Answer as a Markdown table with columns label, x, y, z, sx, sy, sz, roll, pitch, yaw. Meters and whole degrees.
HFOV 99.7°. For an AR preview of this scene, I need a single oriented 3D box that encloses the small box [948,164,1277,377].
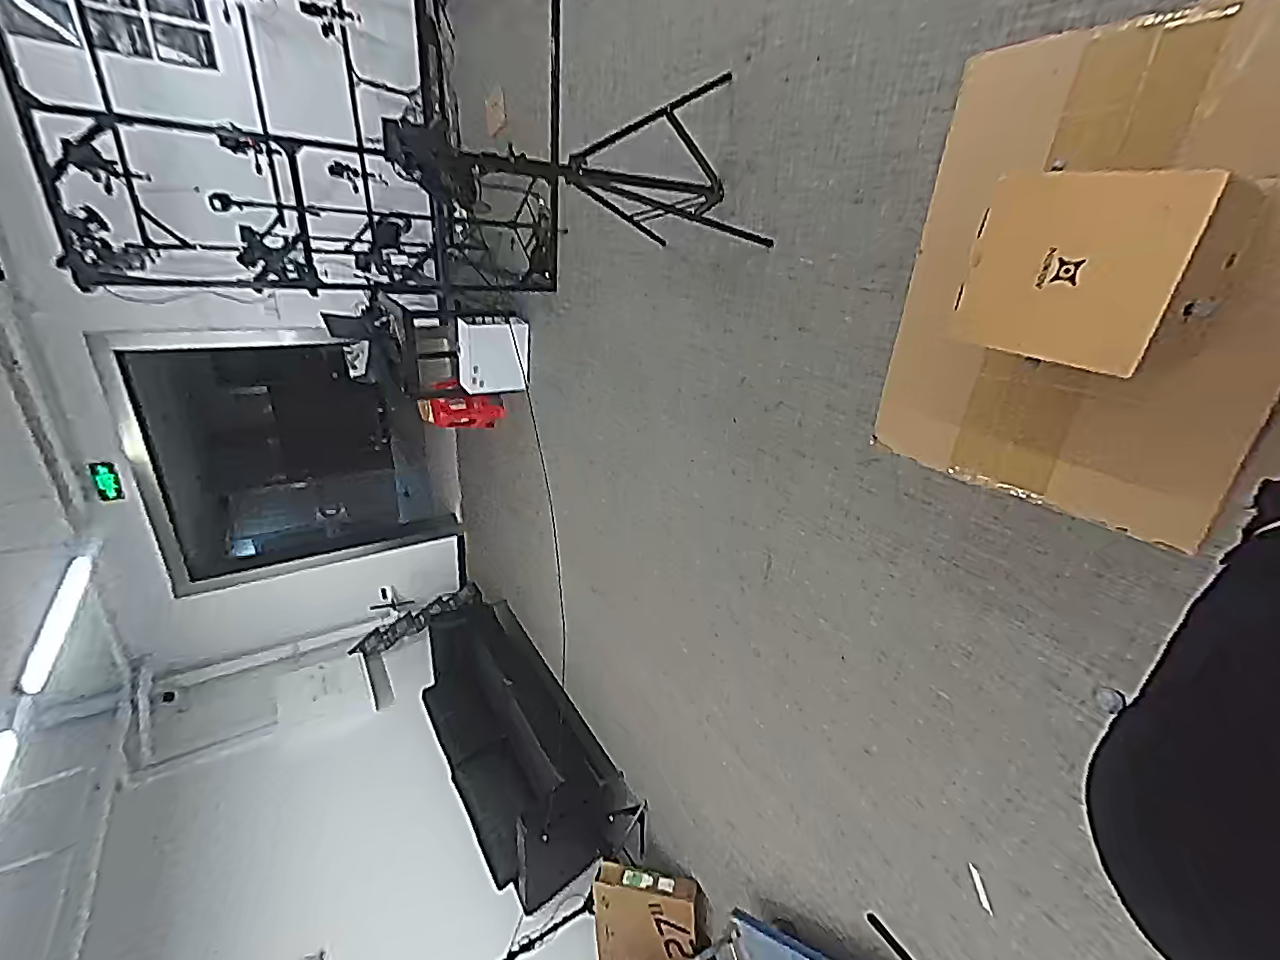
| label | x | y | z | sx | sy | sz | roll | pitch | yaw |
| --- | --- | --- | --- | --- | --- | --- | --- | --- | --- |
| small box | 0.457 | -0.211 | 0.535 | 0.179 | 0.176 | 0.168 | 37 | 130 | 48 |
